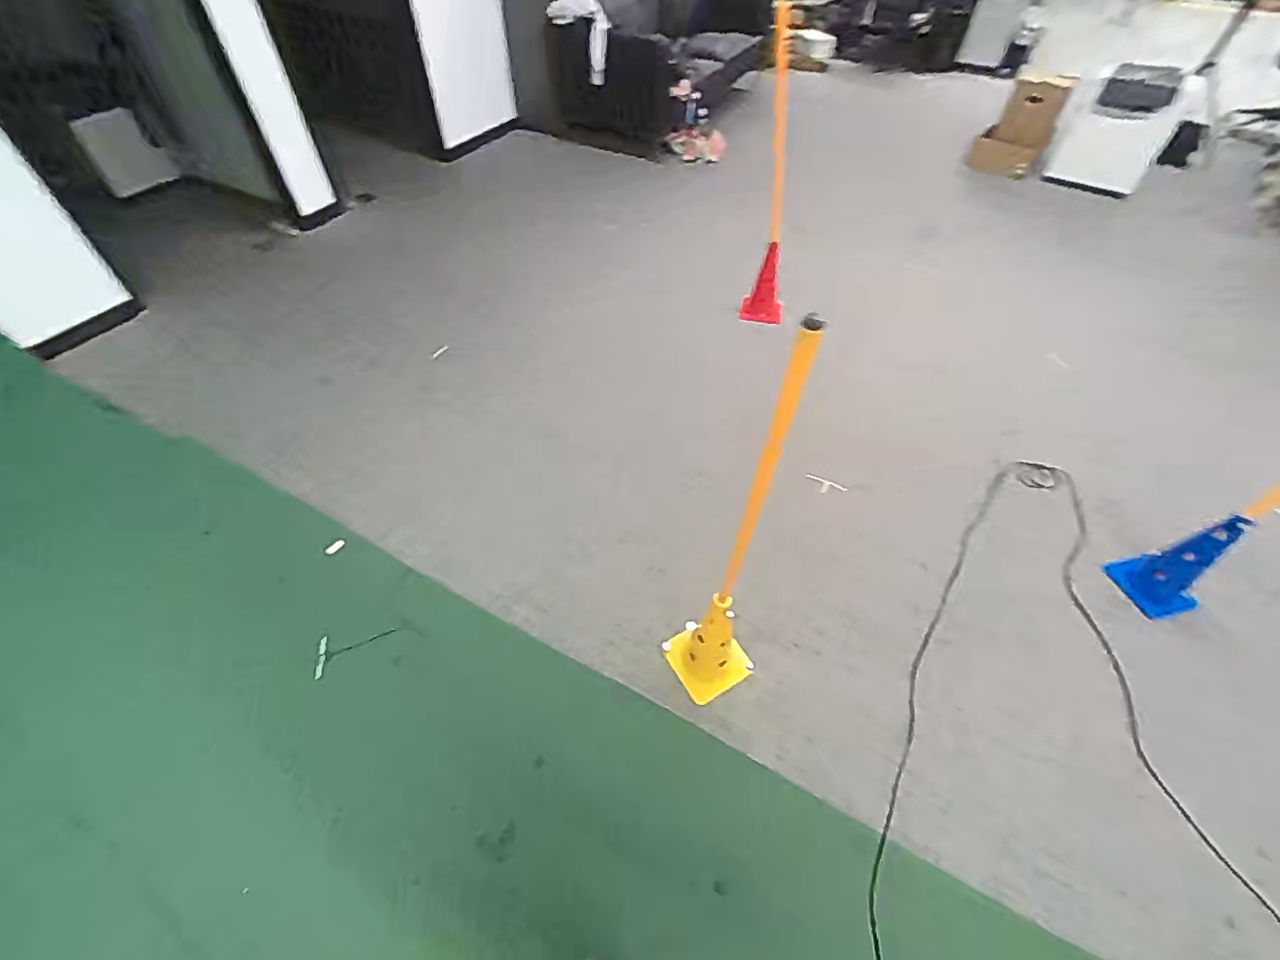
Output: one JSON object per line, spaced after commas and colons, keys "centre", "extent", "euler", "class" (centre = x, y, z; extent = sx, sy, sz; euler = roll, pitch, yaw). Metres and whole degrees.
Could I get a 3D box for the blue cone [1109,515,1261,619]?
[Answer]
{"centre": [1.607, 0.224, 1.571], "extent": [0.193, 0.380, 0.192], "euler": [-10, 50, -13], "class": "blue cone"}
